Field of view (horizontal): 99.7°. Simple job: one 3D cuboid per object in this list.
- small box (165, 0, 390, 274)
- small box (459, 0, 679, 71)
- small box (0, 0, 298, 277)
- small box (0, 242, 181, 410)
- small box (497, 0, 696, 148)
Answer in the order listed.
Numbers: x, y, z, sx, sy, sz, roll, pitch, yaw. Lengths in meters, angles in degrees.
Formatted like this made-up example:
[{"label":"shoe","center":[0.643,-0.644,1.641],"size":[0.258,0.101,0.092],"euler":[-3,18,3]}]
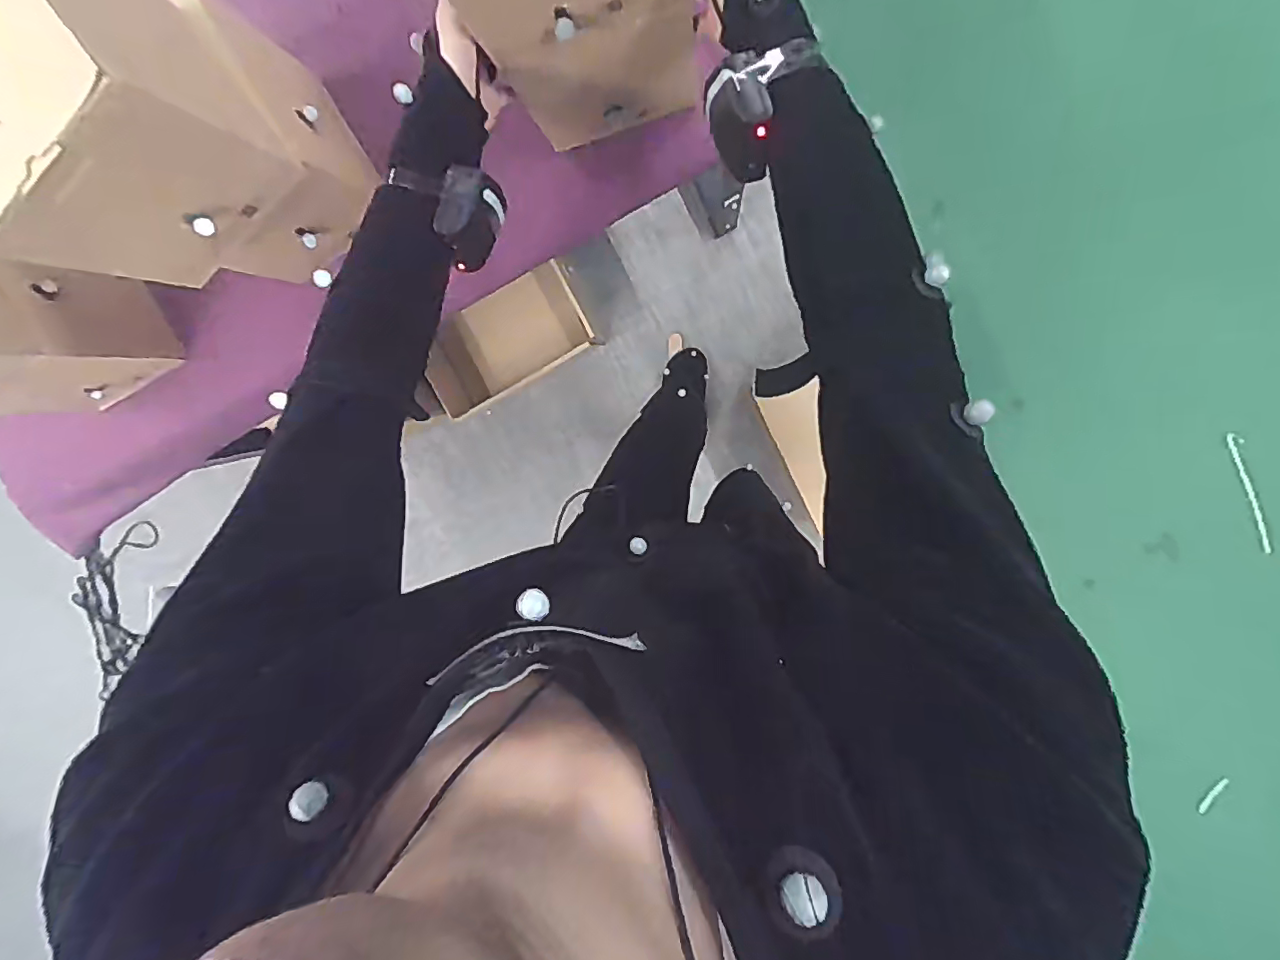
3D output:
[{"label":"small box","center":[-0.409,-0.340,0.575],"size":[0.168,0.176,0.179],"euler":[-29,96,11]},{"label":"small box","center":[-0.072,-0.420,0.343],"size":[0.168,0.176,0.179],"euler":[-15,99,11]},{"label":"small box","center":[-0.425,-0.286,0.418],"size":[0.168,0.176,0.179],"euler":[-36,95,13]},{"label":"small box","center":[-0.723,-0.191,0.646],"size":[0.168,0.176,0.179],"euler":[-24,98,11]},{"label":"small box","center":[-0.046,-0.452,0.501],"size":[0.168,0.176,0.179],"euler":[-12,100,10]}]
